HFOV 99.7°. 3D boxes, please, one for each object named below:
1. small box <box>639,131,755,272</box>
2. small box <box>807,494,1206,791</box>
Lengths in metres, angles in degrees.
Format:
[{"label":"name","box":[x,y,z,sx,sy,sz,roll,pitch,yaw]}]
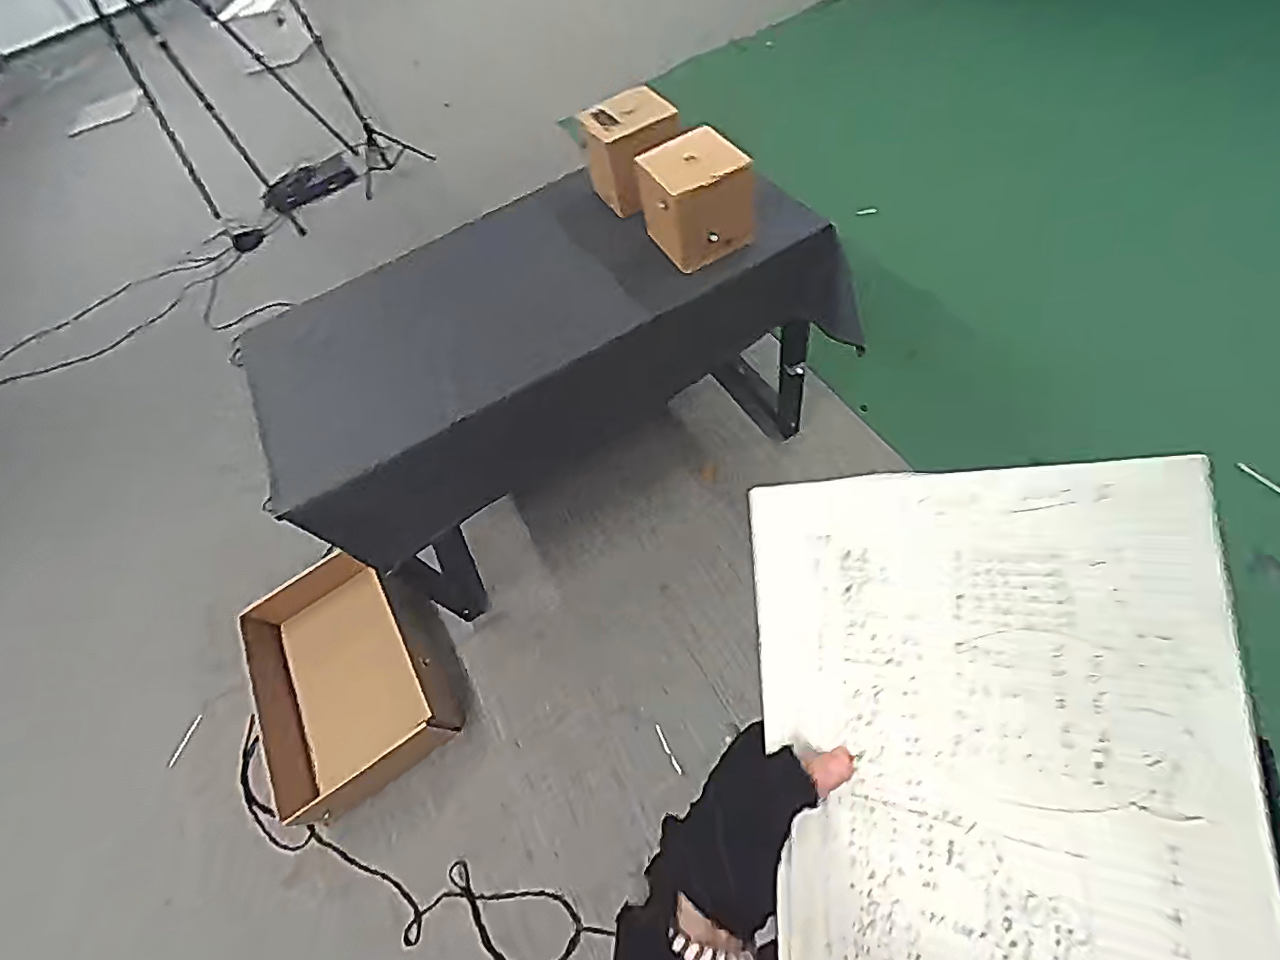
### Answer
[{"label":"small box","box":[0.116,-0.556,1.088,0.168,0.176,0.179,-27,57,-5]},{"label":"small box","box":[0.221,0.123,0.394,0.179,0.176,0.168,-7,66,11]}]
